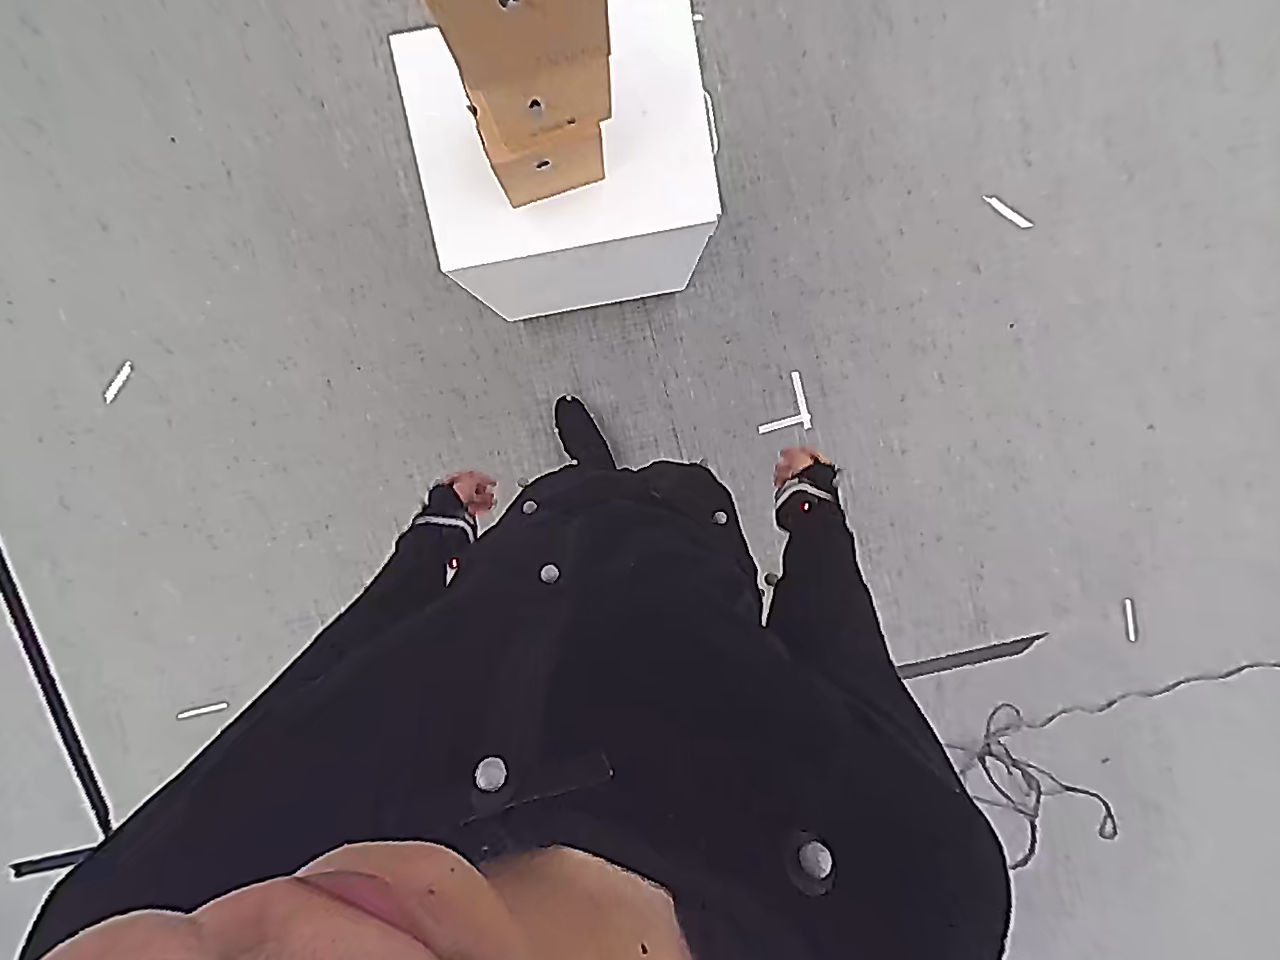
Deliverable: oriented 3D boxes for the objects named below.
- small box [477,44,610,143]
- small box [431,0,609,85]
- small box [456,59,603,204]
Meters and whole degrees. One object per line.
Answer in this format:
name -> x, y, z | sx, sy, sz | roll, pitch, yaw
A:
small box -> -0.140, -0.579, 0.710 | 0.168, 0.176, 0.179 | -17, 96, 0
small box -> -0.135, -0.546, 0.548 | 0.179, 0.176, 0.168 | -14, 97, 0
small box -> -0.165, -0.576, 0.873 | 0.179, 0.176, 0.168 | -18, 97, 0
